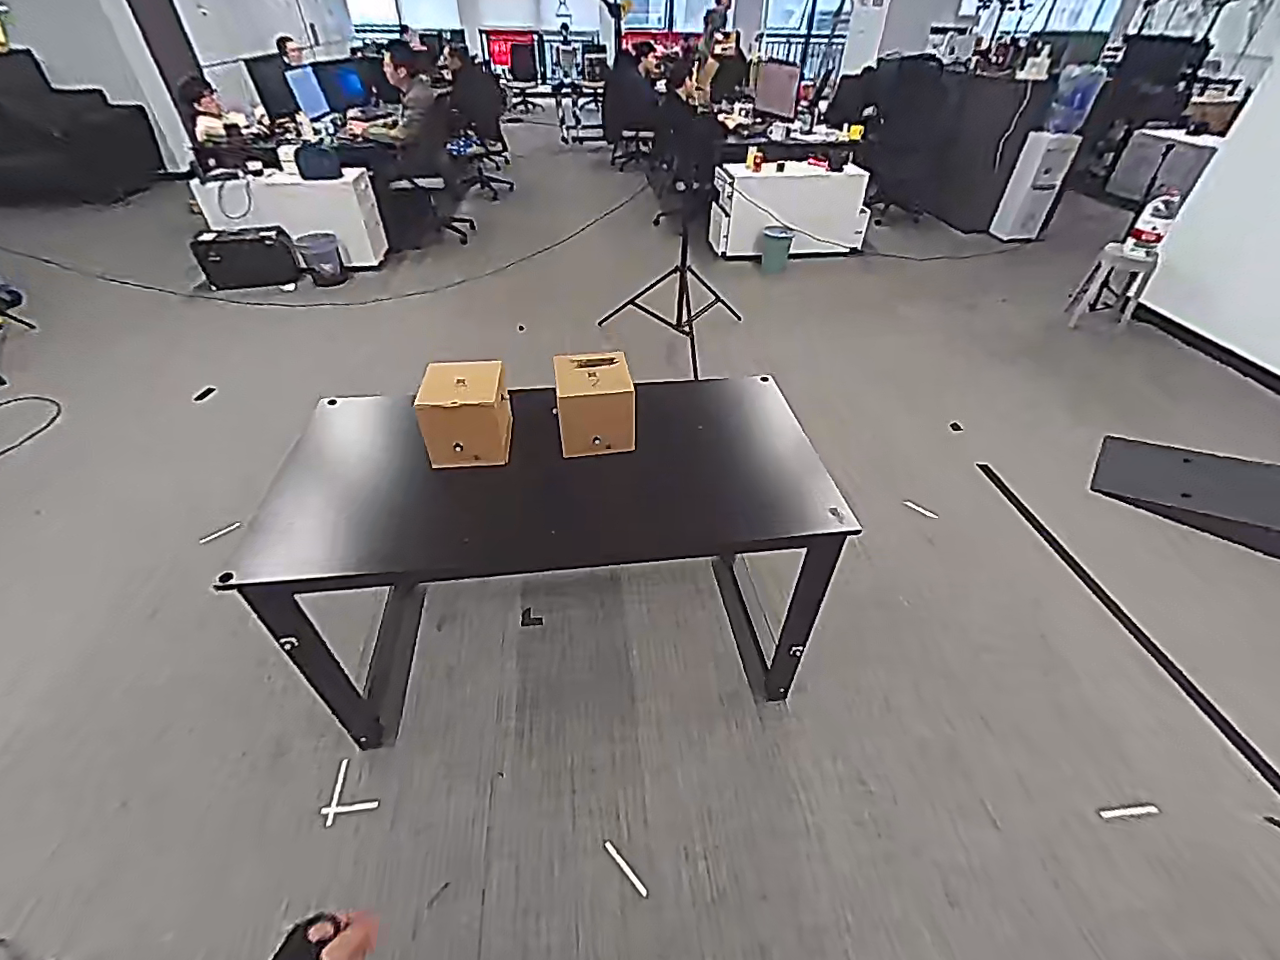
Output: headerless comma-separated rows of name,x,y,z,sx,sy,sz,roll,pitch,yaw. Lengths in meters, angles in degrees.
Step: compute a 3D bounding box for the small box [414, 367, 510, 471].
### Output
small box,-0.392,-0.140,1.227,0.168,0.176,0.179,-4,41,-5
